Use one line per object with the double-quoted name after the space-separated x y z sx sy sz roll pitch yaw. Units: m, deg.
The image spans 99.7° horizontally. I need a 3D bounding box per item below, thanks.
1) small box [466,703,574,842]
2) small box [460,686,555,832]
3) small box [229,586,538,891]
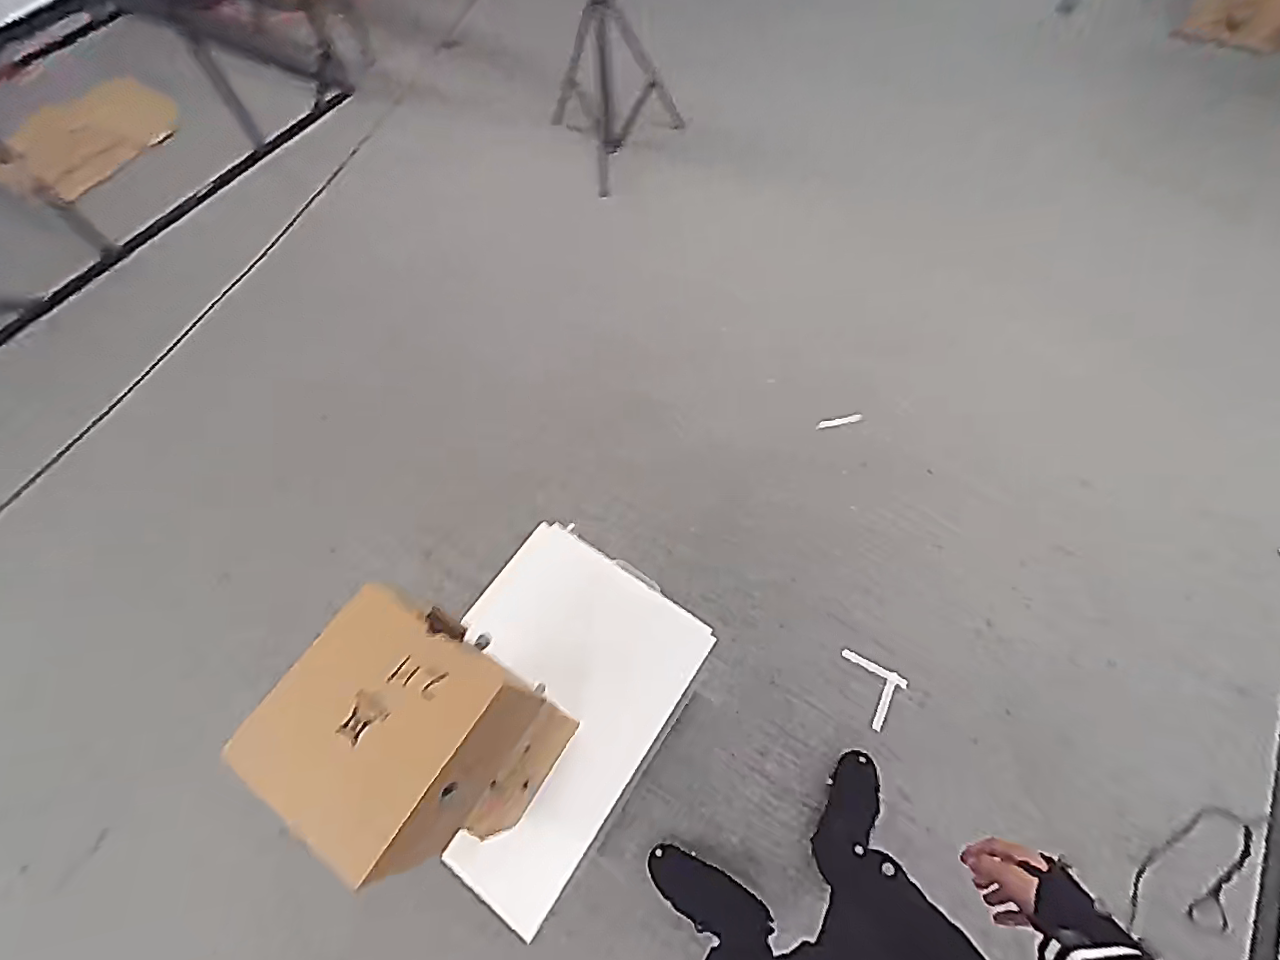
-0.215 0.395 0.807 0.168 0.176 0.179 28 67 16 "small box"
-0.228 0.305 0.671 0.179 0.176 0.168 28 68 17 "small box"
-0.220 0.237 0.520 0.168 0.176 0.179 29 68 16 "small box"
